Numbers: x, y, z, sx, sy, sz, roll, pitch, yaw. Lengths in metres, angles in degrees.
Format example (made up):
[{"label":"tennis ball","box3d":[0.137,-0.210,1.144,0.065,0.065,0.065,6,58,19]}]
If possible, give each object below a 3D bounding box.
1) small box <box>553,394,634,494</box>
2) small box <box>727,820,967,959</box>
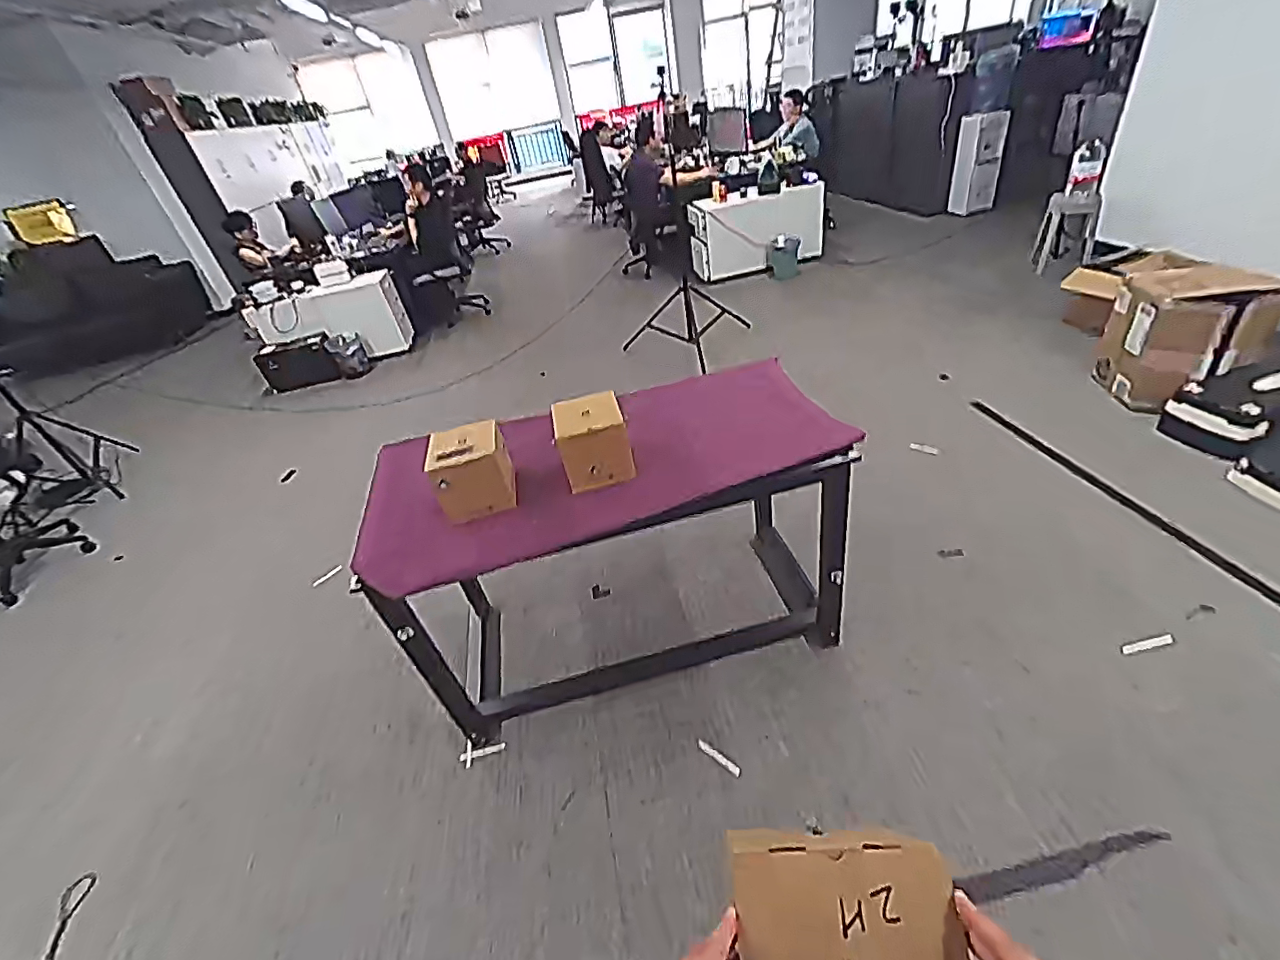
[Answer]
[{"label":"small box","box3d":[-0.118,-0.091,1.369,0.168,0.176,0.179,-14,36,-4]},{"label":"small box","box3d":[0.165,0.399,0.460,0.168,0.176,0.179,-5,60,5]}]
